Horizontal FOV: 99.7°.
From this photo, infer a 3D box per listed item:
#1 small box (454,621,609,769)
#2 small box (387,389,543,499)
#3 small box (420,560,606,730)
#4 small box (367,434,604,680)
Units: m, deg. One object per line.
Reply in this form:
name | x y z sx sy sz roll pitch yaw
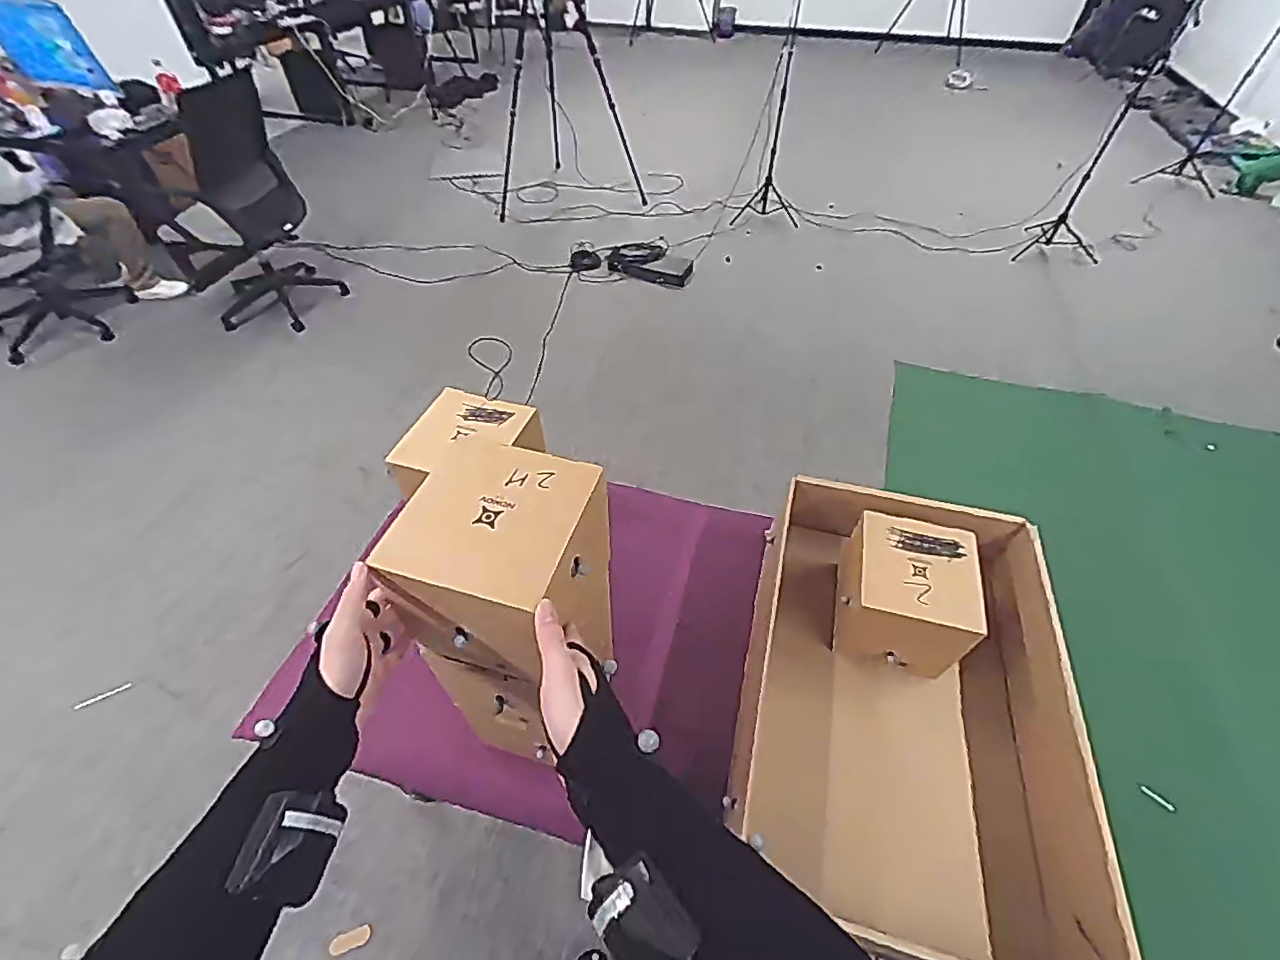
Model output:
small box | -0.146 0.306 0.813 0.168 0.176 0.179 13 48 10
small box | -0.266 -0.016 0.878 0.168 0.176 0.179 14 51 12
small box | -0.144 0.194 0.694 0.168 0.176 0.179 12 50 10
small box | -0.140 0.083 0.570 0.168 0.176 0.179 13 48 10
